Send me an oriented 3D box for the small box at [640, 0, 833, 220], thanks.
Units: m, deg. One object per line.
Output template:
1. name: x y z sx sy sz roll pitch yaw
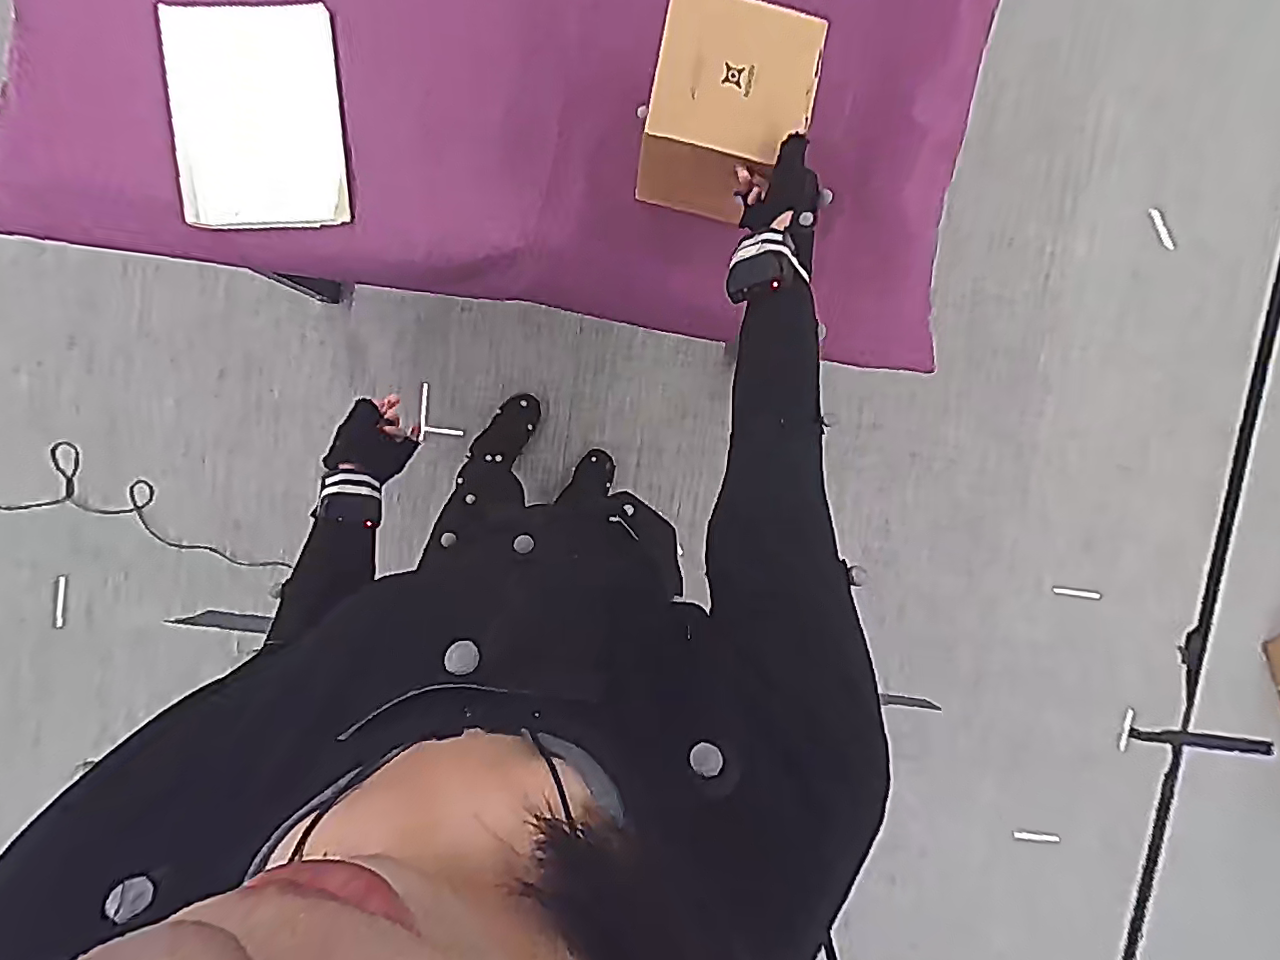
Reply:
1. small box: 0.103 -0.442 0.659 0.179 0.176 0.168 11 92 -4
